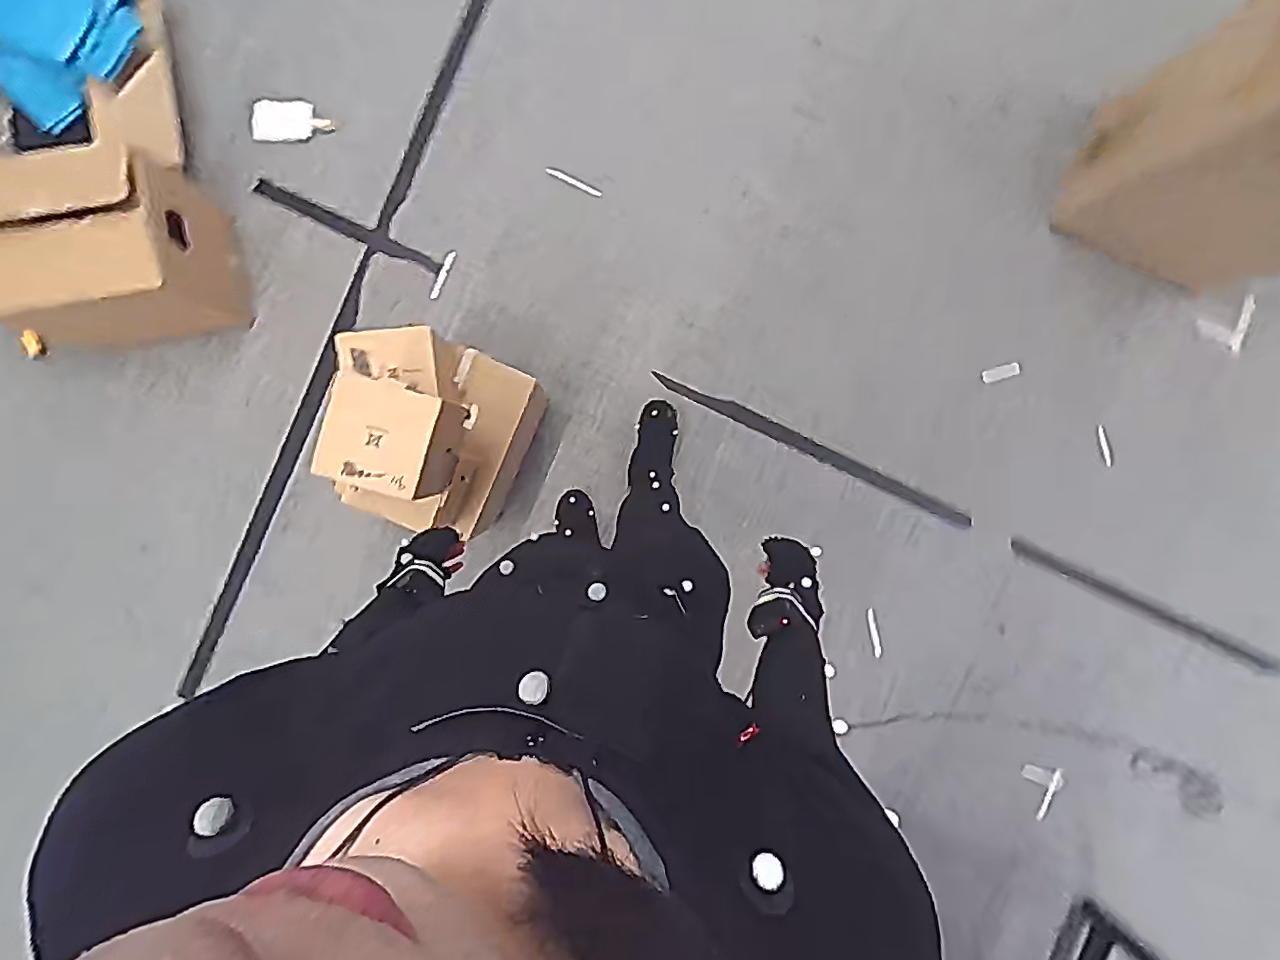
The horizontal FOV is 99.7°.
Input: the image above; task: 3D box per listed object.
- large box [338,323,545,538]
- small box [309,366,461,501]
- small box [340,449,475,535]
[{"bbox_3d":[-0.459,-0.106,1.334,0.320,0.320,0.408,22,89,-6],"label":"large box"},{"bbox_3d":[-0.422,-0.075,0.930,0.168,0.176,0.179,17,90,-5],"label":"small box"},{"bbox_3d":[-0.456,-0.002,1.094,0.179,0.176,0.168,22,88,-3],"label":"small box"}]
